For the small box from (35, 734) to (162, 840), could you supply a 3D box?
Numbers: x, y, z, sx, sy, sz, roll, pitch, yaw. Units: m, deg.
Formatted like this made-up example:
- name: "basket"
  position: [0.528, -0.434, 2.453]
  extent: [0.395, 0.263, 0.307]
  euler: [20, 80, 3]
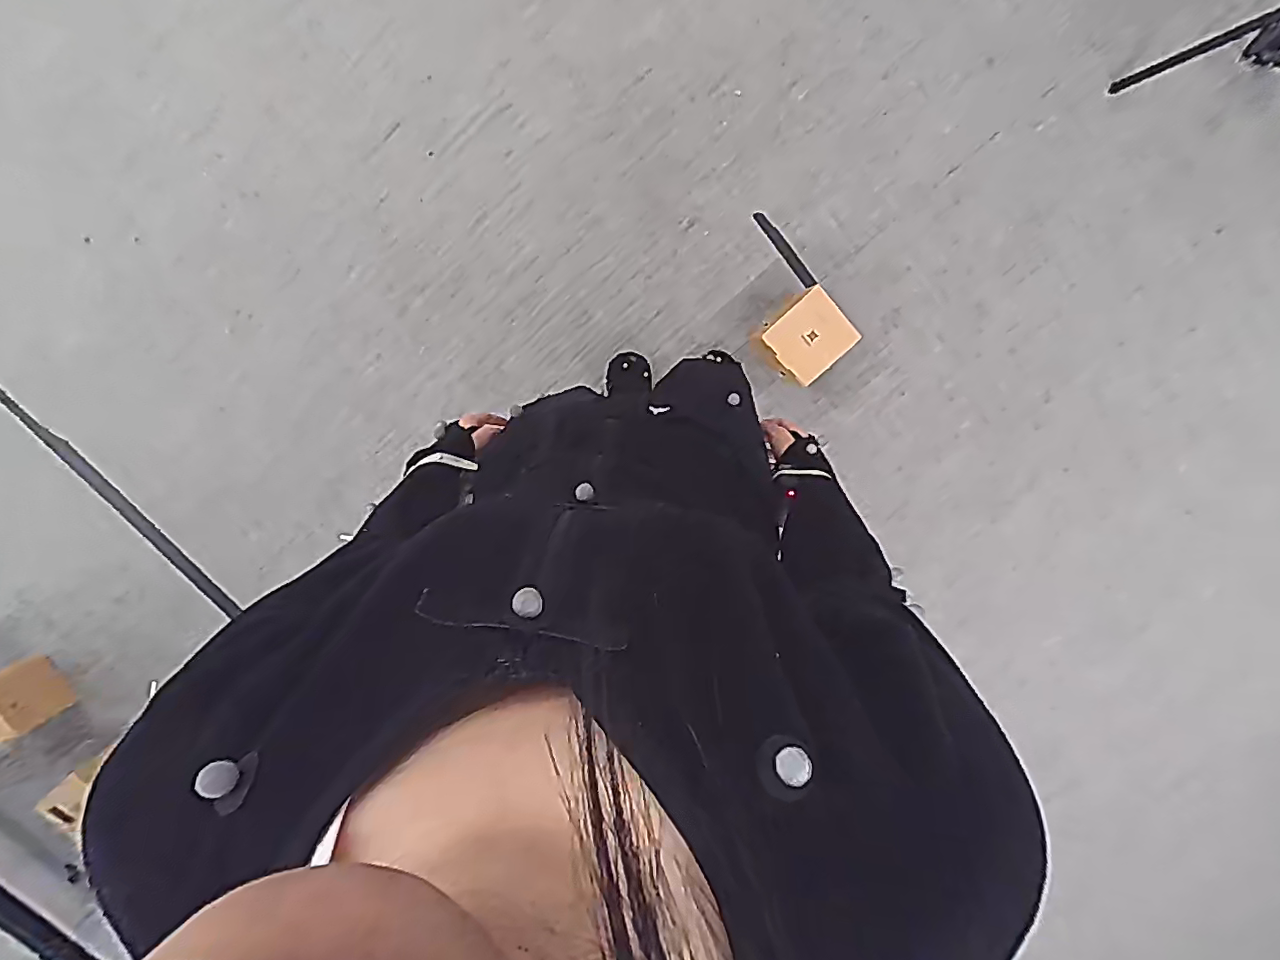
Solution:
- name: "small box"
  position: [-1.598, 0.907, 1.609]
  extent: [0.179, 0.176, 0.168]
  euler: [-40, 100, 7]

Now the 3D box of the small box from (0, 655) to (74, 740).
- name: "small box"
  position: [-1.812, 0.628, 1.547]
  extent: [0.168, 0.176, 0.179]
  euler: [-22, 103, 4]
